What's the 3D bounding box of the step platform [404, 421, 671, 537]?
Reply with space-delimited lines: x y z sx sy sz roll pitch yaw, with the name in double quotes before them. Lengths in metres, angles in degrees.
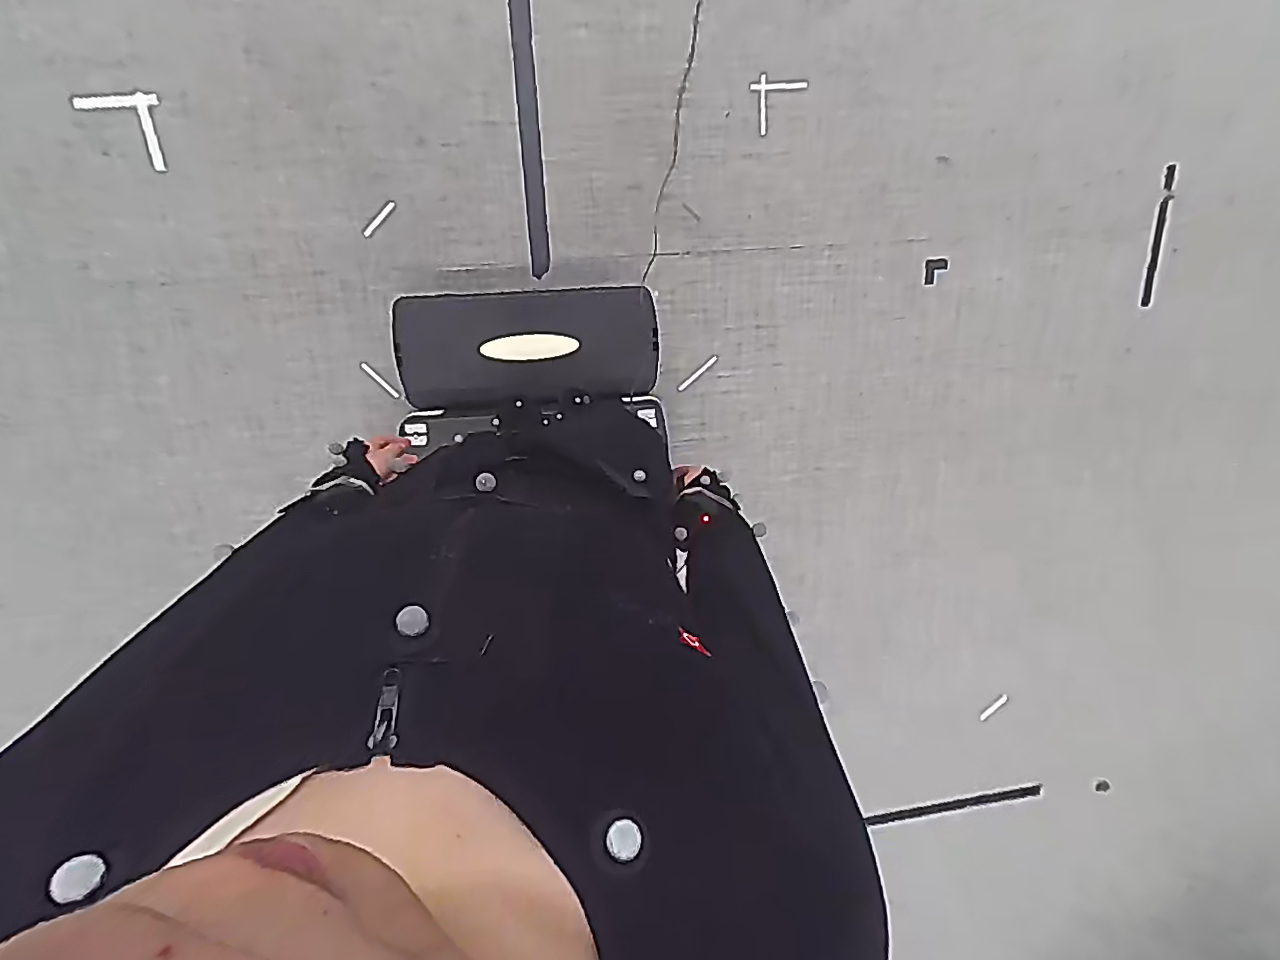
"step platform" -0.259 -0.007 1.445 0.684 0.204 0.286 0 102 -6
